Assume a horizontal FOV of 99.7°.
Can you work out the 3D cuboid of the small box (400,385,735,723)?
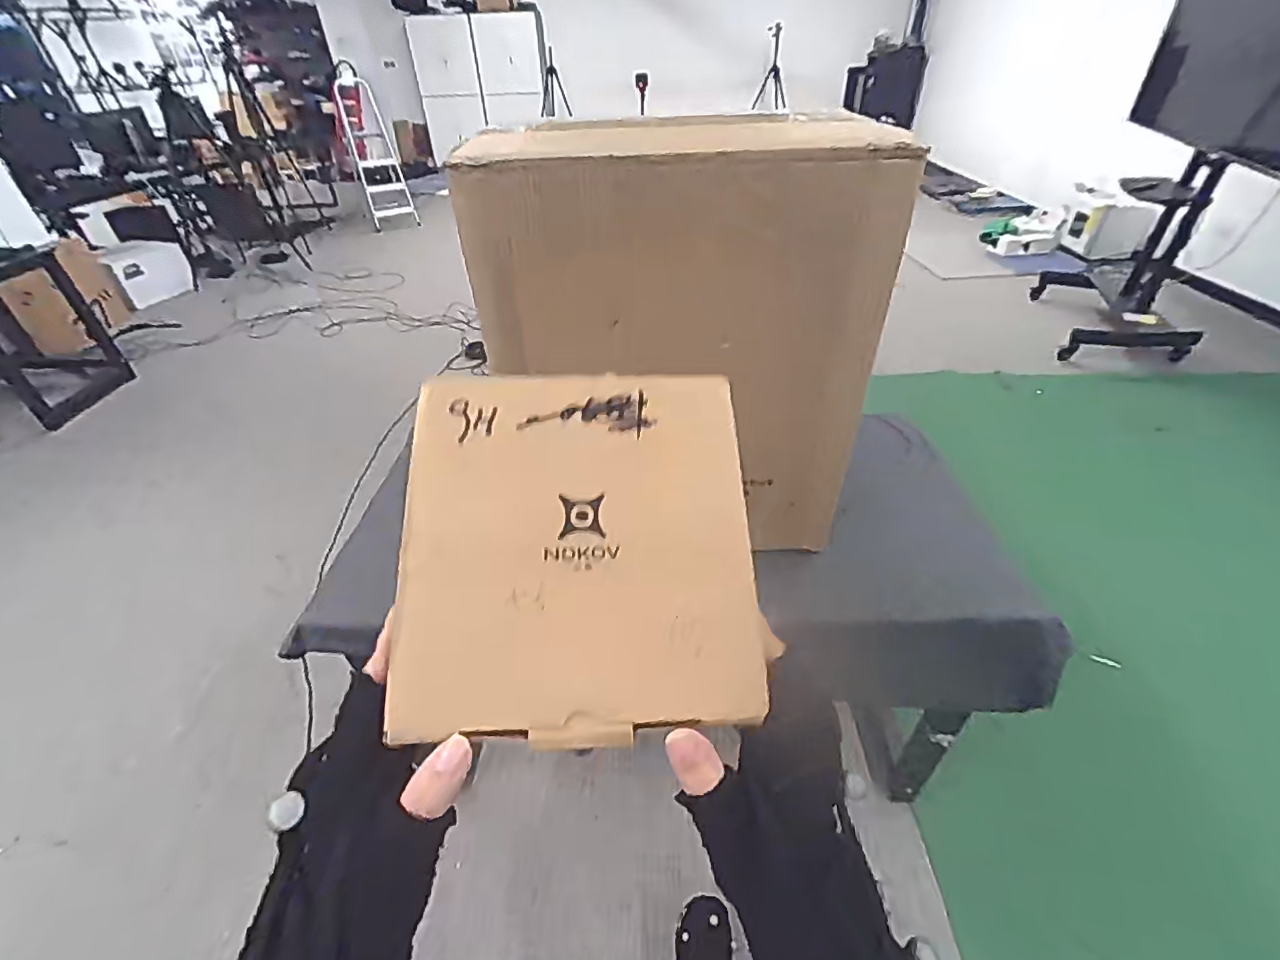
[{"bbox_3d":[-0.043,0.055,0.362,0.168,0.176,0.179,-3,70,-5],"label":"small box"}]
